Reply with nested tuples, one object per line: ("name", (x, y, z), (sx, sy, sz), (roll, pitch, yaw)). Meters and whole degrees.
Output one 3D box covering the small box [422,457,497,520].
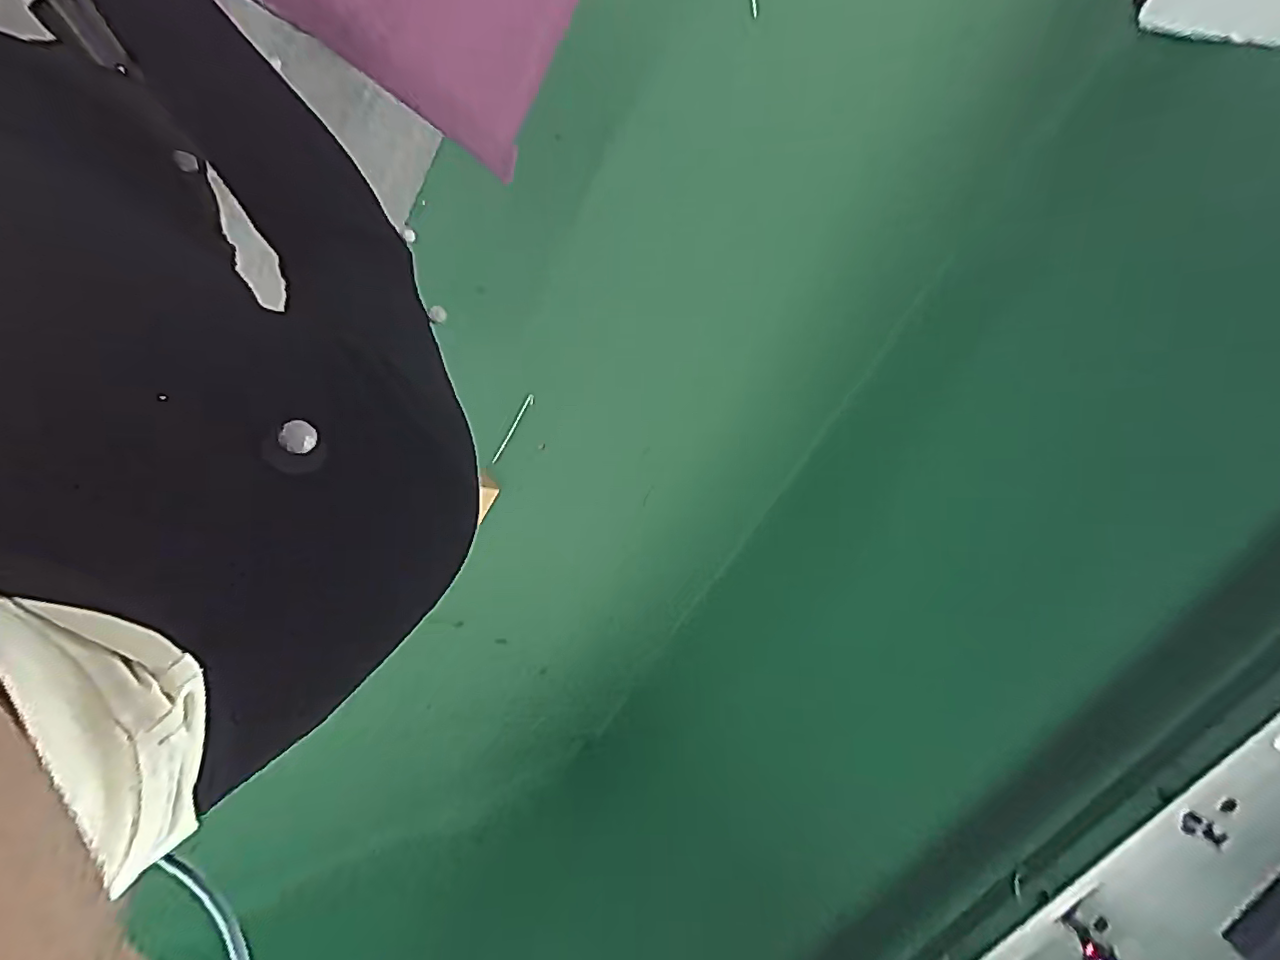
("small box", (-0.676, 0.031, 2.019), (0.179, 0.176, 0.168), (14, 114, -53))
